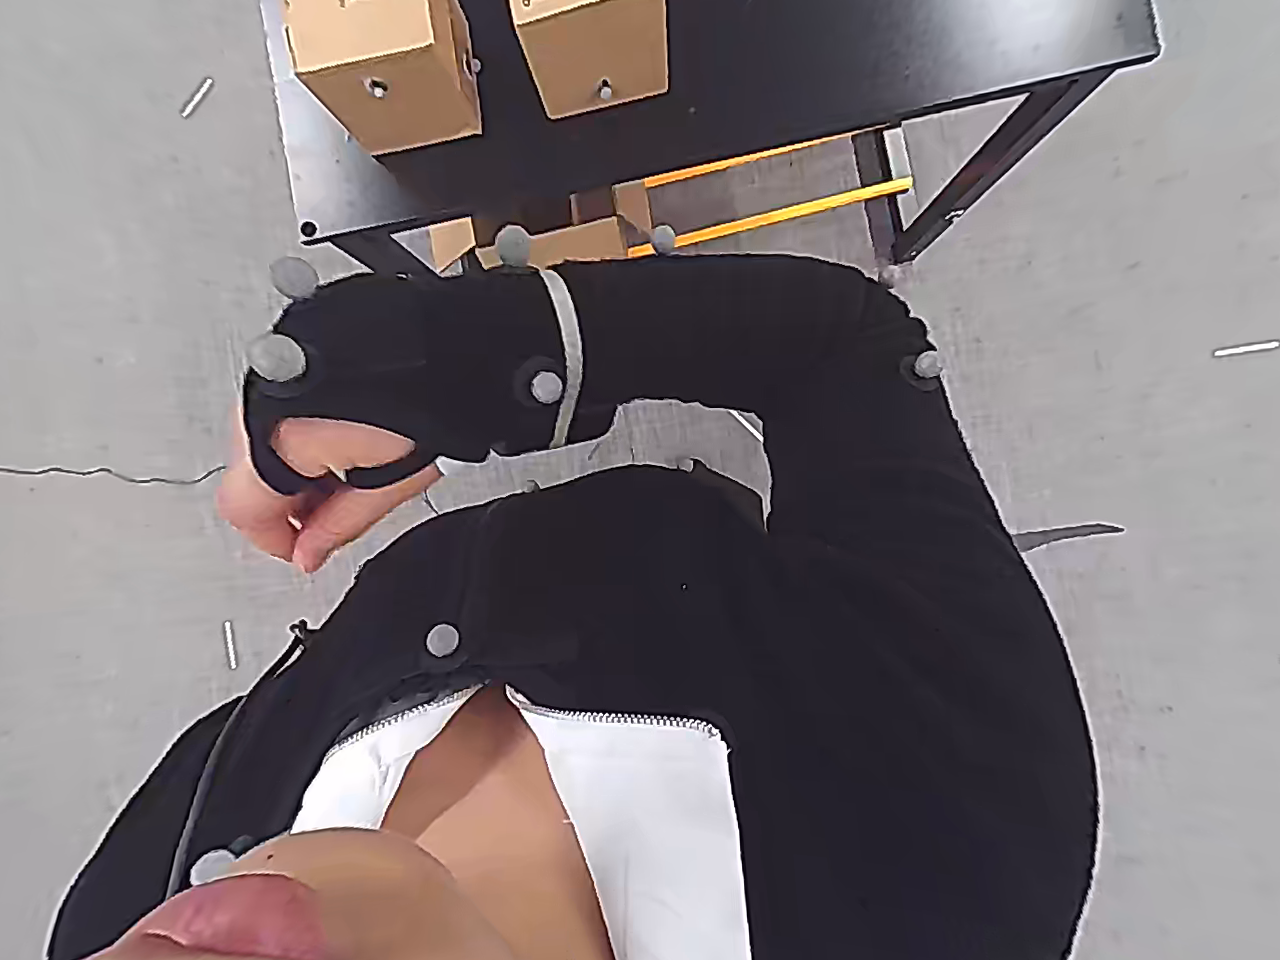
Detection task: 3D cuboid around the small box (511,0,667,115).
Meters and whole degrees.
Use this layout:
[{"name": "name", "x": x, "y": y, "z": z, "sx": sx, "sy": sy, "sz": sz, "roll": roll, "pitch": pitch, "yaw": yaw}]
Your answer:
[{"name": "small box", "x": -0.066, "y": -0.606, "z": 0.679, "sx": 0.179, "sy": 0.176, "sz": 0.168, "roll": -11, "pitch": 89, "yaw": 3}]

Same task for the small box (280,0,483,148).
[{"name": "small box", "x": -0.326, "y": -0.565, "z": 0.698, "sx": 0.179, "sy": 0.176, "sz": 0.168, "roll": -9, "pitch": 91, "yaw": 3}]
